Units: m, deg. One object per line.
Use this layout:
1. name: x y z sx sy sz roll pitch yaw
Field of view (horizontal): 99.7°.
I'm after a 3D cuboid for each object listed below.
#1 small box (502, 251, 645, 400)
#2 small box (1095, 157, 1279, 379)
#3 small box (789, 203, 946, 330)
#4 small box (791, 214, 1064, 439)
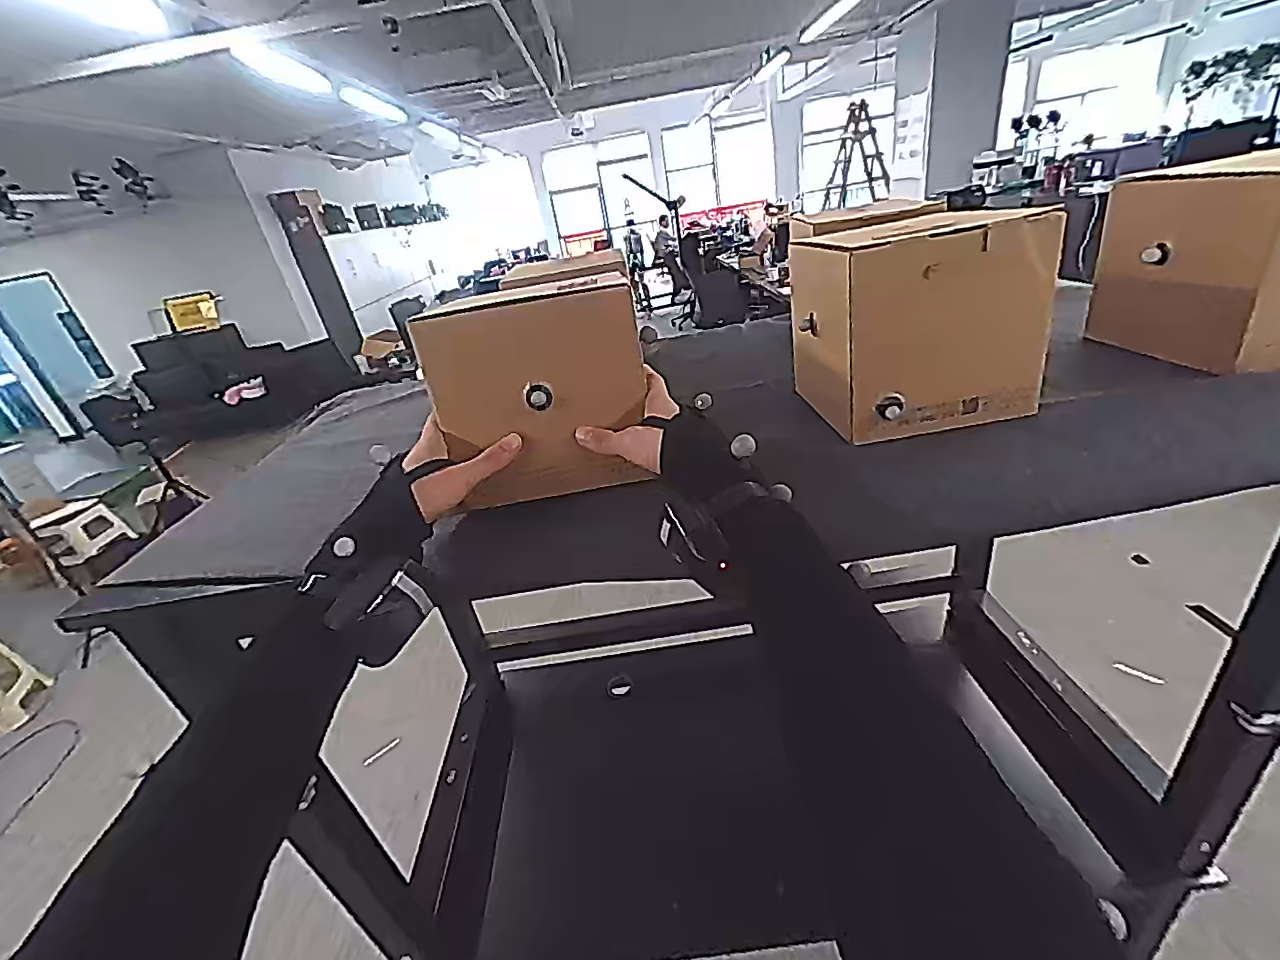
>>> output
1. small box: -0.088 -0.224 0.792 0.168 0.176 0.179 -9 28 1
2. small box: 0.589 -0.206 0.516 0.168 0.176 0.179 -11 26 2
3. small box: 0.319 -0.295 0.788 0.168 0.176 0.179 -6 27 6
4. small box: 0.254 -0.147 0.520 0.168 0.176 0.179 -10 25 2
